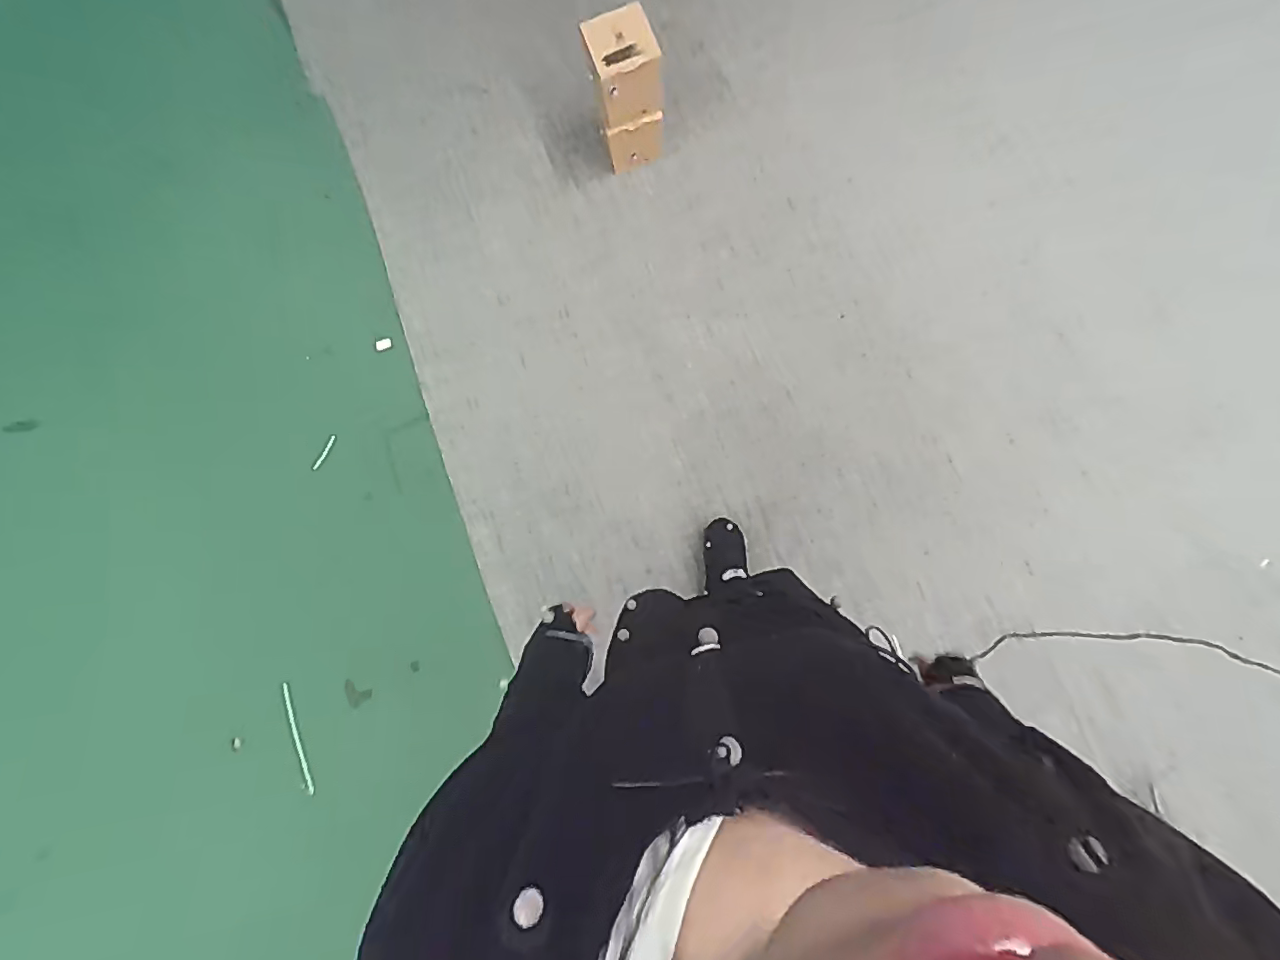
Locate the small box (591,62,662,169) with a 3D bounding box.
[{"bbox_3d":[-0.036,-1.071,1.599,0.168,0.176,0.179,-16,83,2],"label":"small box"}]
